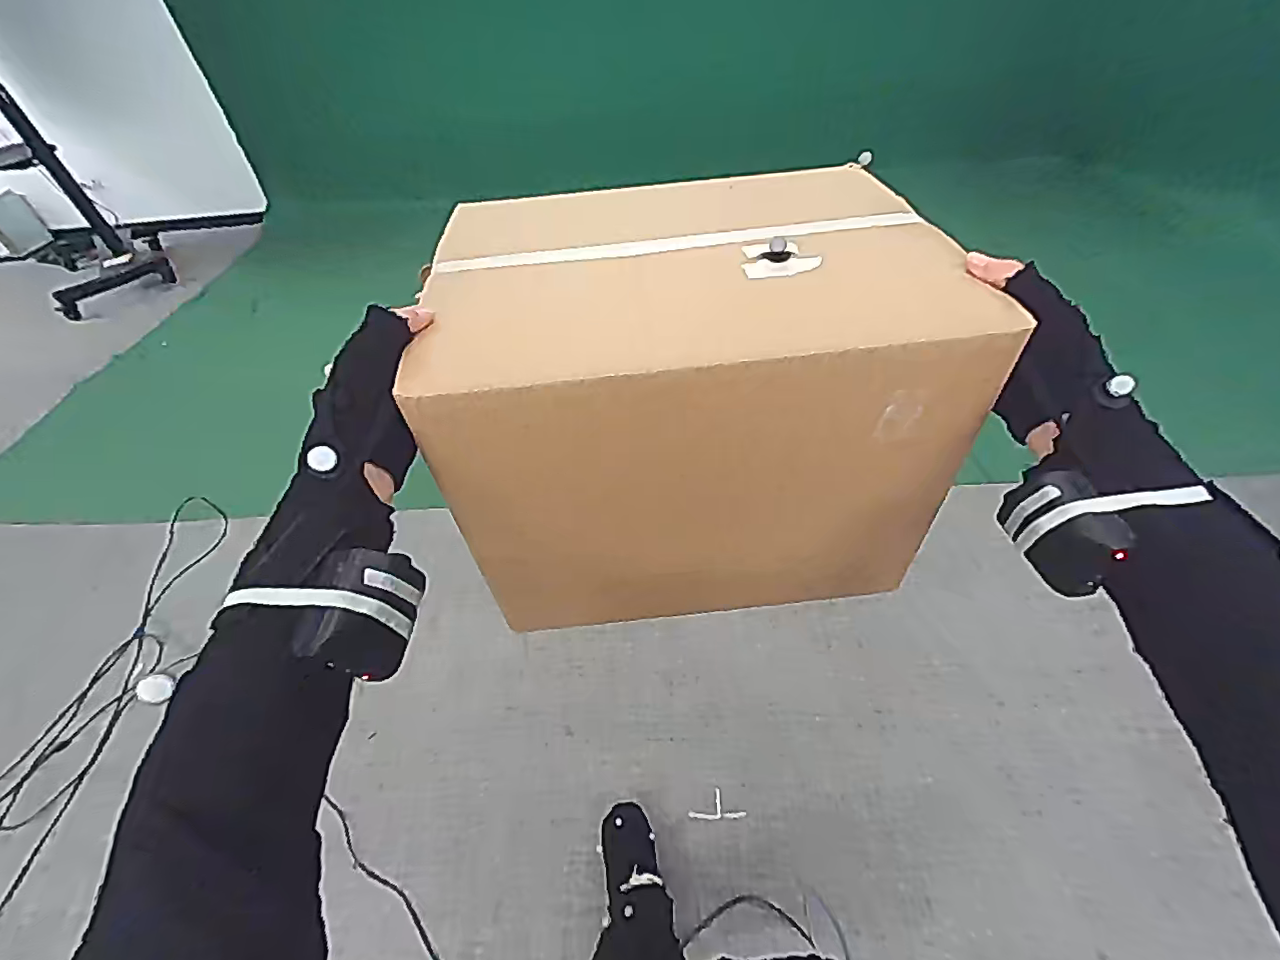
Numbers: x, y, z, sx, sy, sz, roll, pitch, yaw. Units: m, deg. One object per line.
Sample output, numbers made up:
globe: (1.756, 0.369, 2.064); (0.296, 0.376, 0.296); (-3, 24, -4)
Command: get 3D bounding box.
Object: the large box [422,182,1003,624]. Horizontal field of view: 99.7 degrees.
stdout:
large box: (0.042, -0.079, 0.566); (0.408, 0.320, 0.320); (-6, 48, -2)
